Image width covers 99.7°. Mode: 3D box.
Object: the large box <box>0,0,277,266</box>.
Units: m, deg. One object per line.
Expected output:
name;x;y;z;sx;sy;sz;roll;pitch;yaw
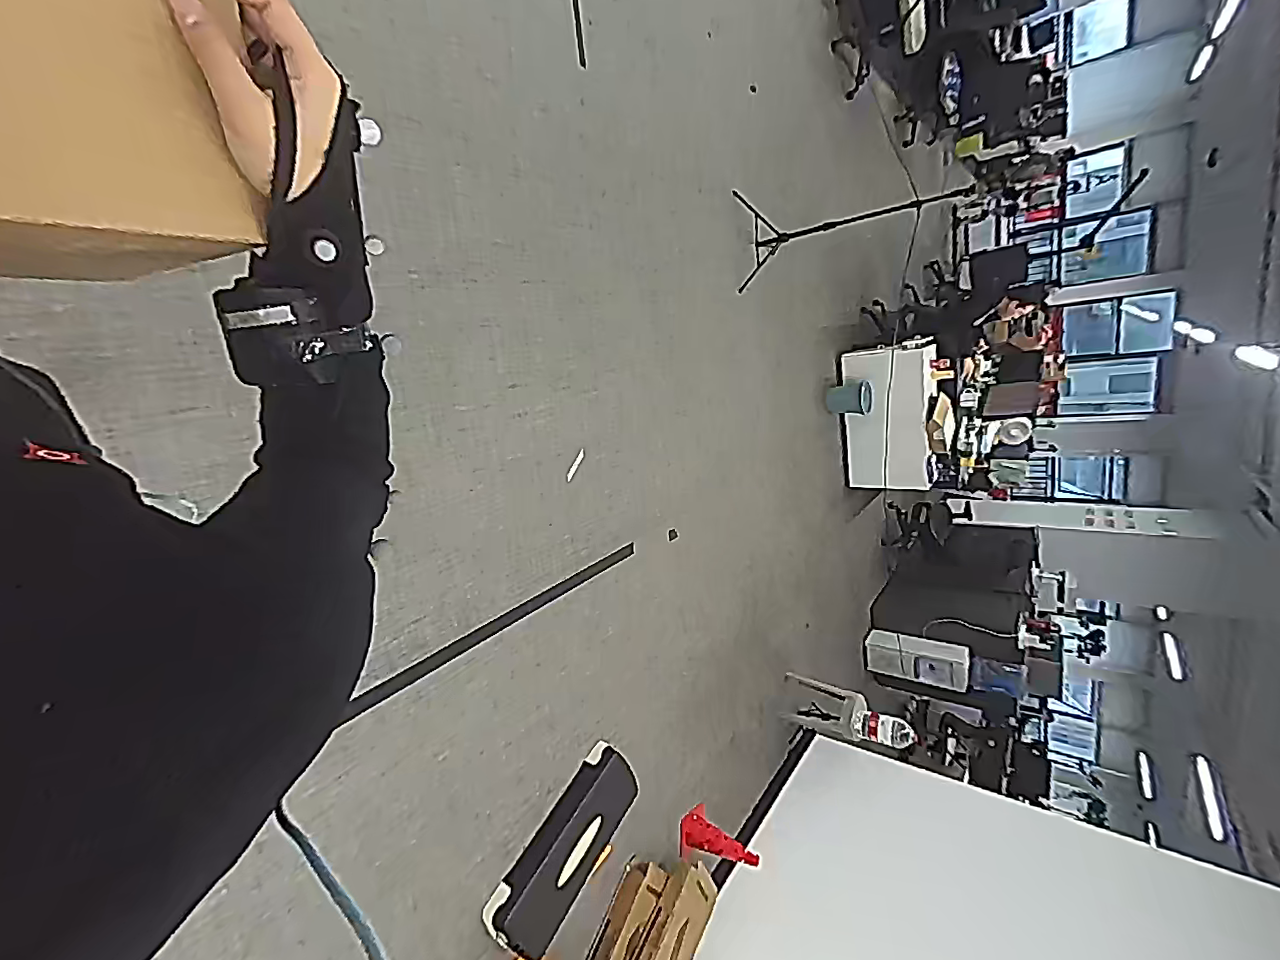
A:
large box;-0.462;-0.271;0.216;0.408;0.320;0.320;-24;118;-53
